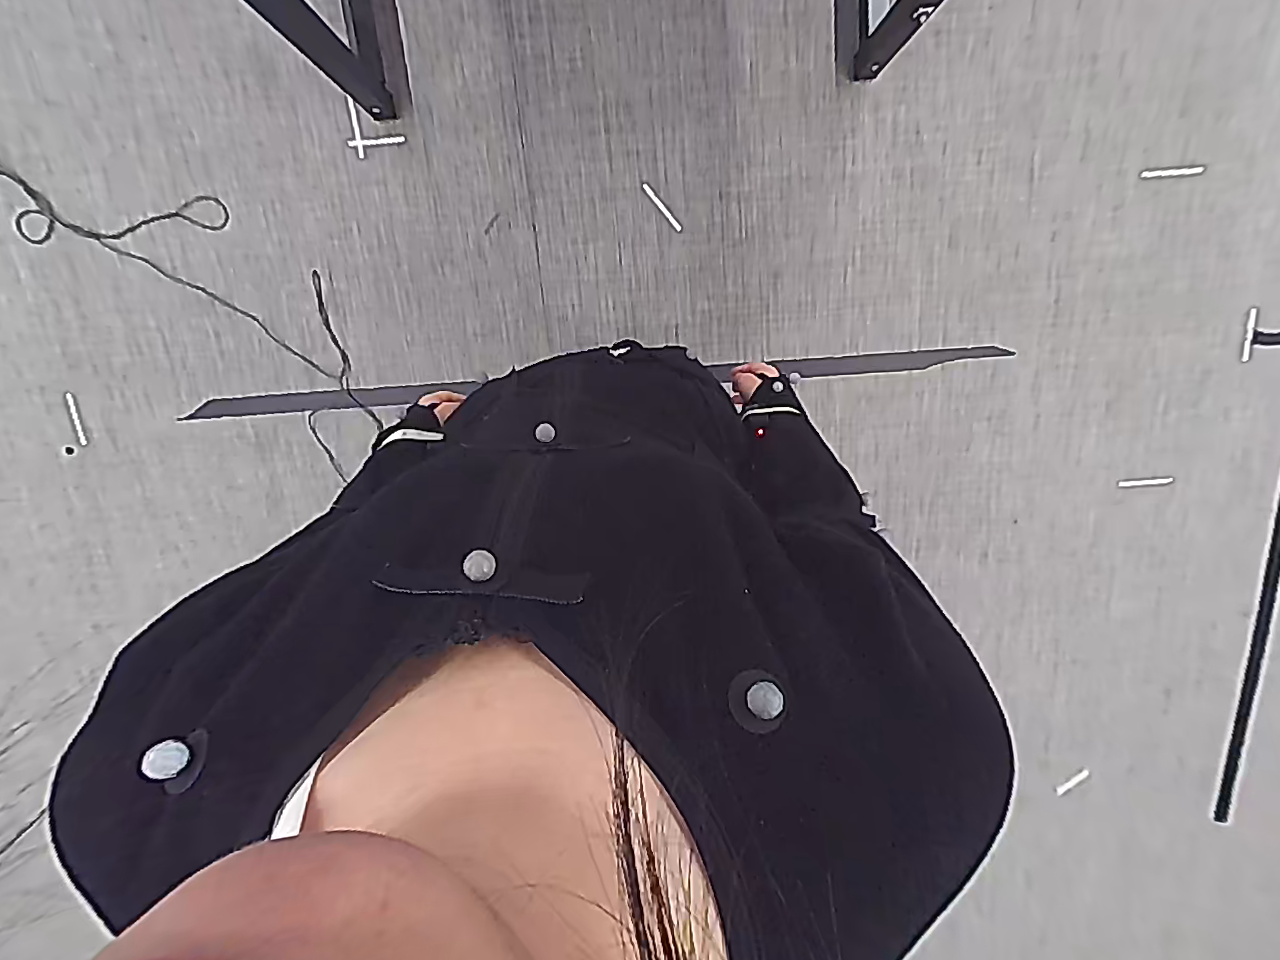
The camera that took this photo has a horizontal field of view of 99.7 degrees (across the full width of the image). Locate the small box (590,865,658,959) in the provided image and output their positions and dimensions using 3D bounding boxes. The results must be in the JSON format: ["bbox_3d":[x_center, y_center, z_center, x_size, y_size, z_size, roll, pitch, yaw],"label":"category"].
[{"bbox_3d":[-0.041,1.220,1.502,0.168,0.176,0.179,-9,104,0],"label":"small box"}]
